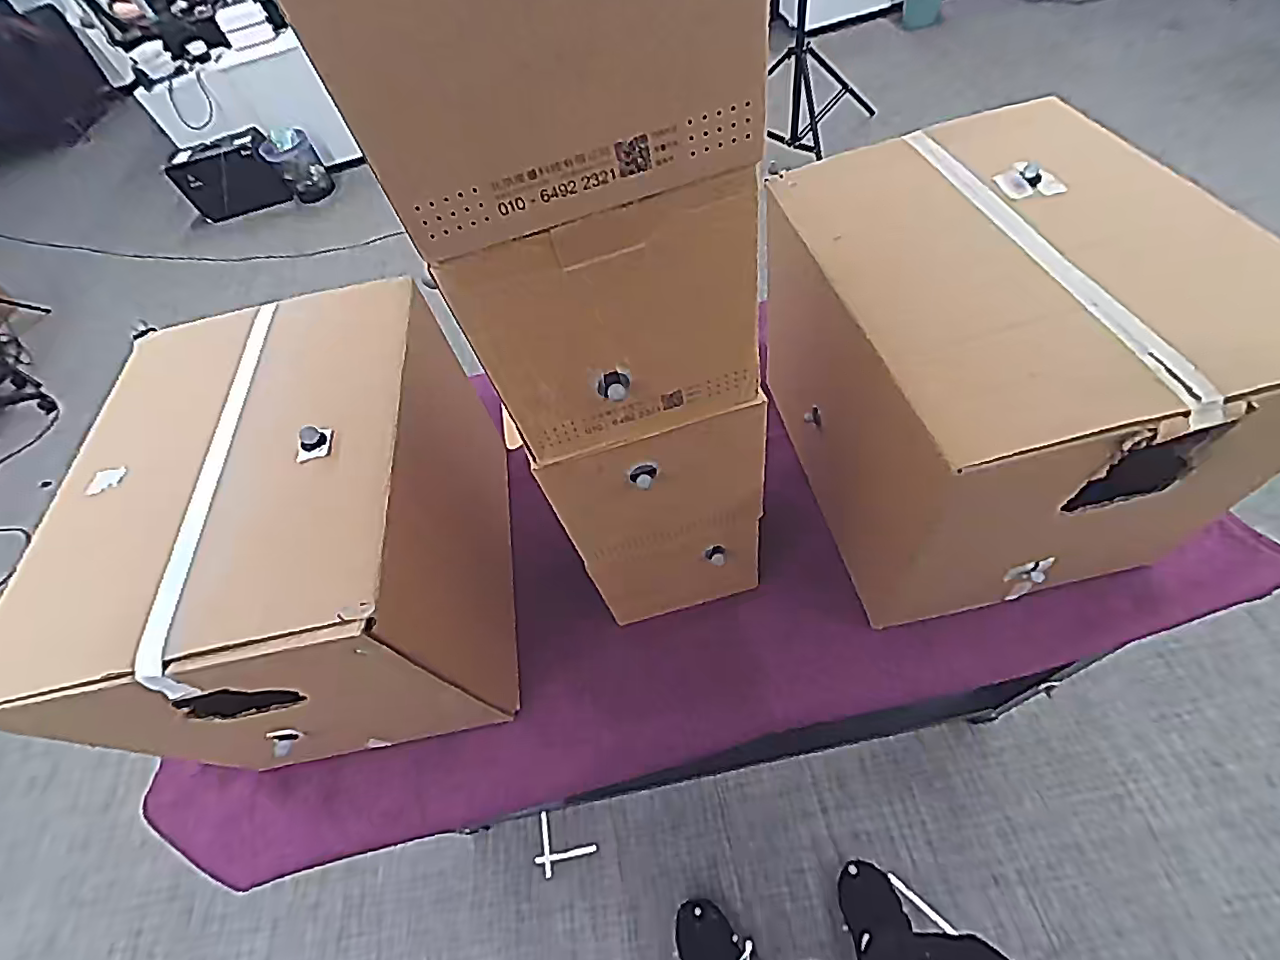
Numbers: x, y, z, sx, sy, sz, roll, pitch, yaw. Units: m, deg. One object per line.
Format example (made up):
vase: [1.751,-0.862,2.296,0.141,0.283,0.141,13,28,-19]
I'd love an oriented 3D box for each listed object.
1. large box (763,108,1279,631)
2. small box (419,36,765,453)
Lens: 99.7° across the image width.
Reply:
large box: [0.341,-0.111,0.573,0.320,0.320,0.408,-14,53,2]
small box: [-0.029,-0.149,0.360,0.168,0.176,0.179,-18,55,-1]
